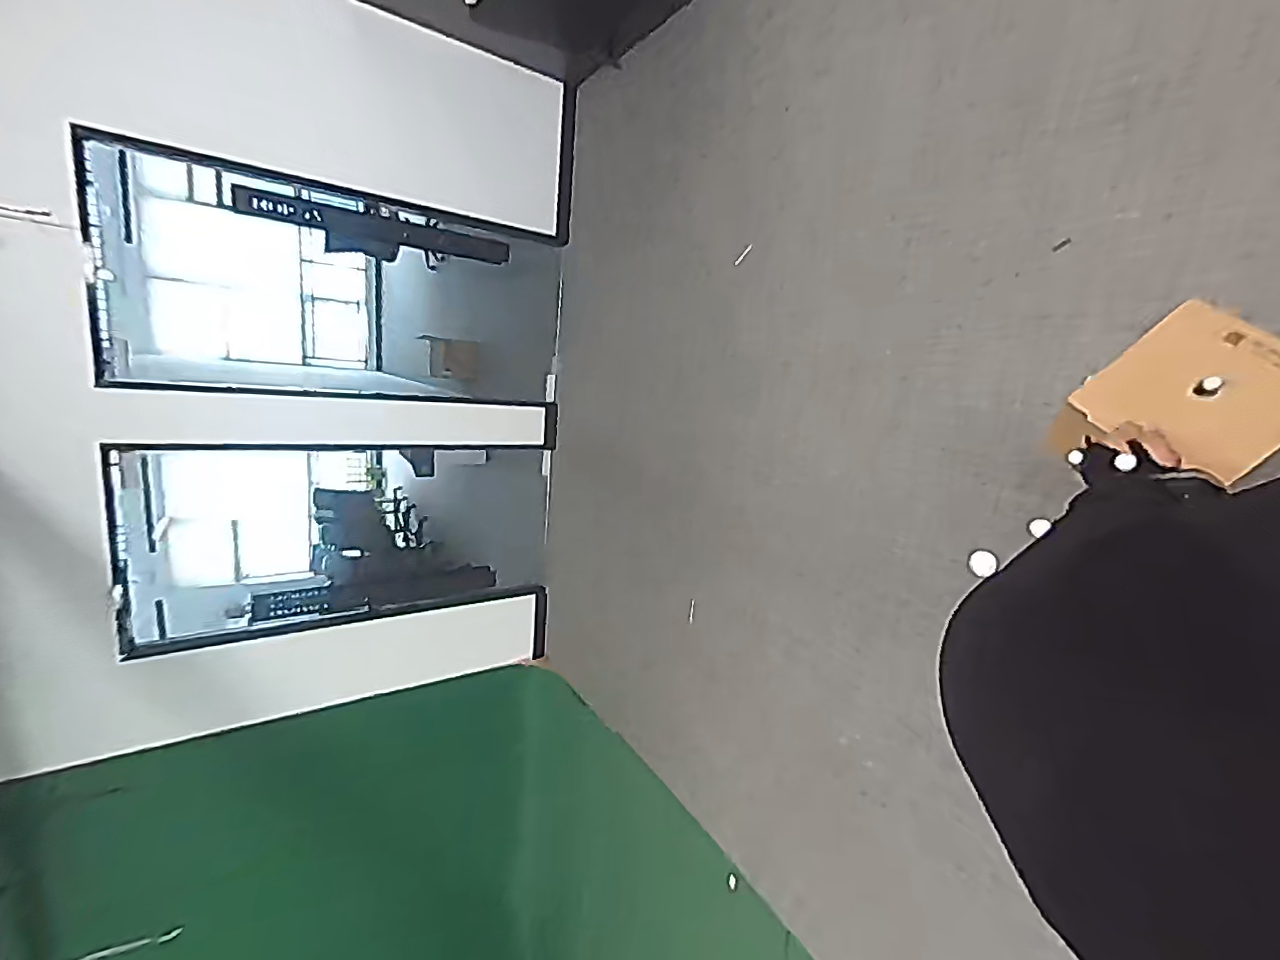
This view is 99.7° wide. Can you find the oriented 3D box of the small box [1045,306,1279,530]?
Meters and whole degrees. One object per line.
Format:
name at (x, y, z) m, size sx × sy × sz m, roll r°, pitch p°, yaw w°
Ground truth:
small box at (0.642, -0.071, 0.646) m, size 0.176 × 0.179 × 0.168 m, roll -43°, pitch 58°, yaw 9°
